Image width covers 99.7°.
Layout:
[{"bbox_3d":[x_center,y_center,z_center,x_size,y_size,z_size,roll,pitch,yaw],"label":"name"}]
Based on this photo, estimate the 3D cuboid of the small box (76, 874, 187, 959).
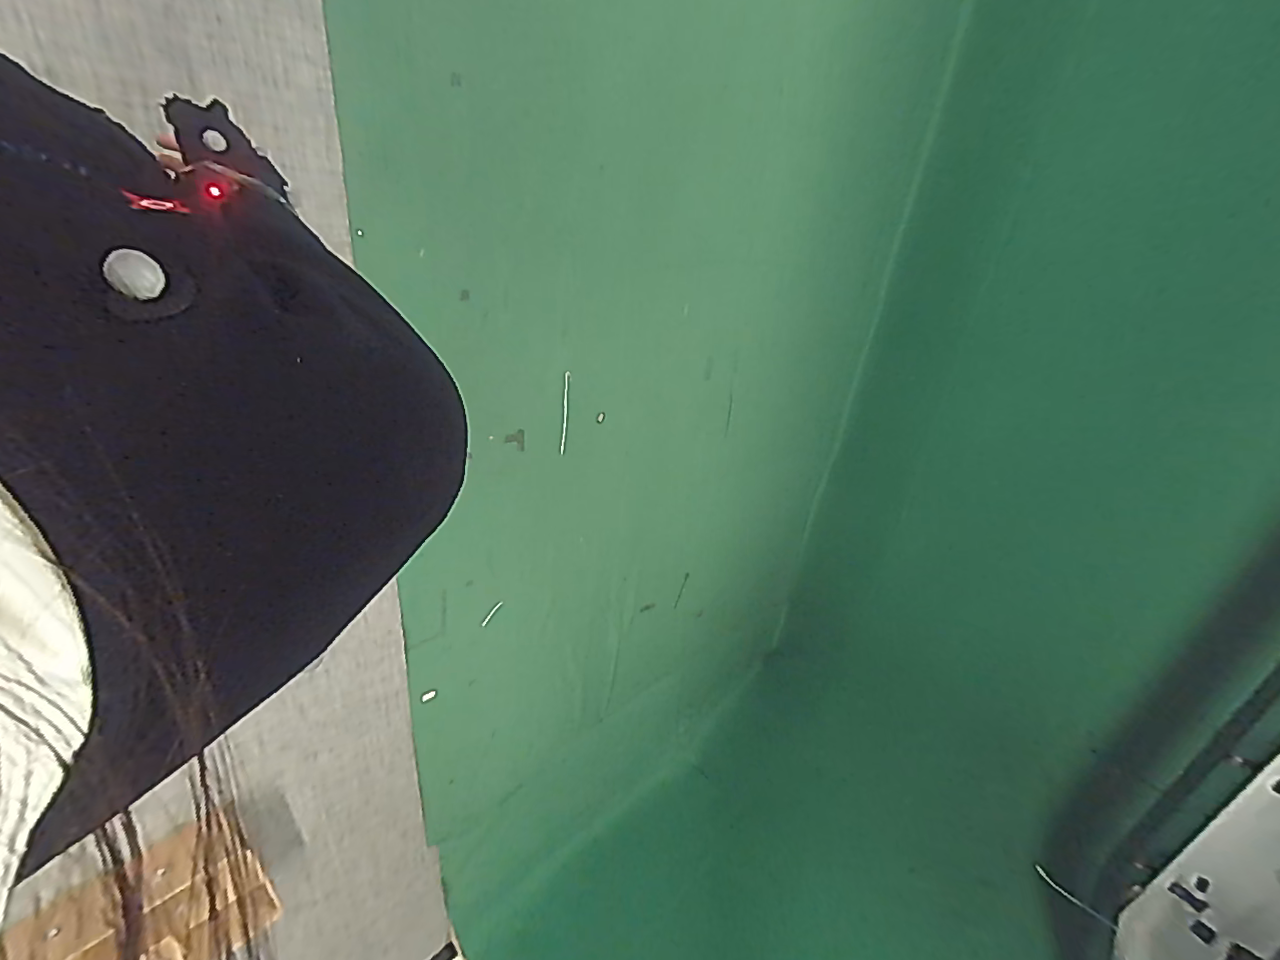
[{"bbox_3d":[-1.373,1.229,1.457,0.179,0.176,0.168,-25,132,-41],"label":"small box"}]
